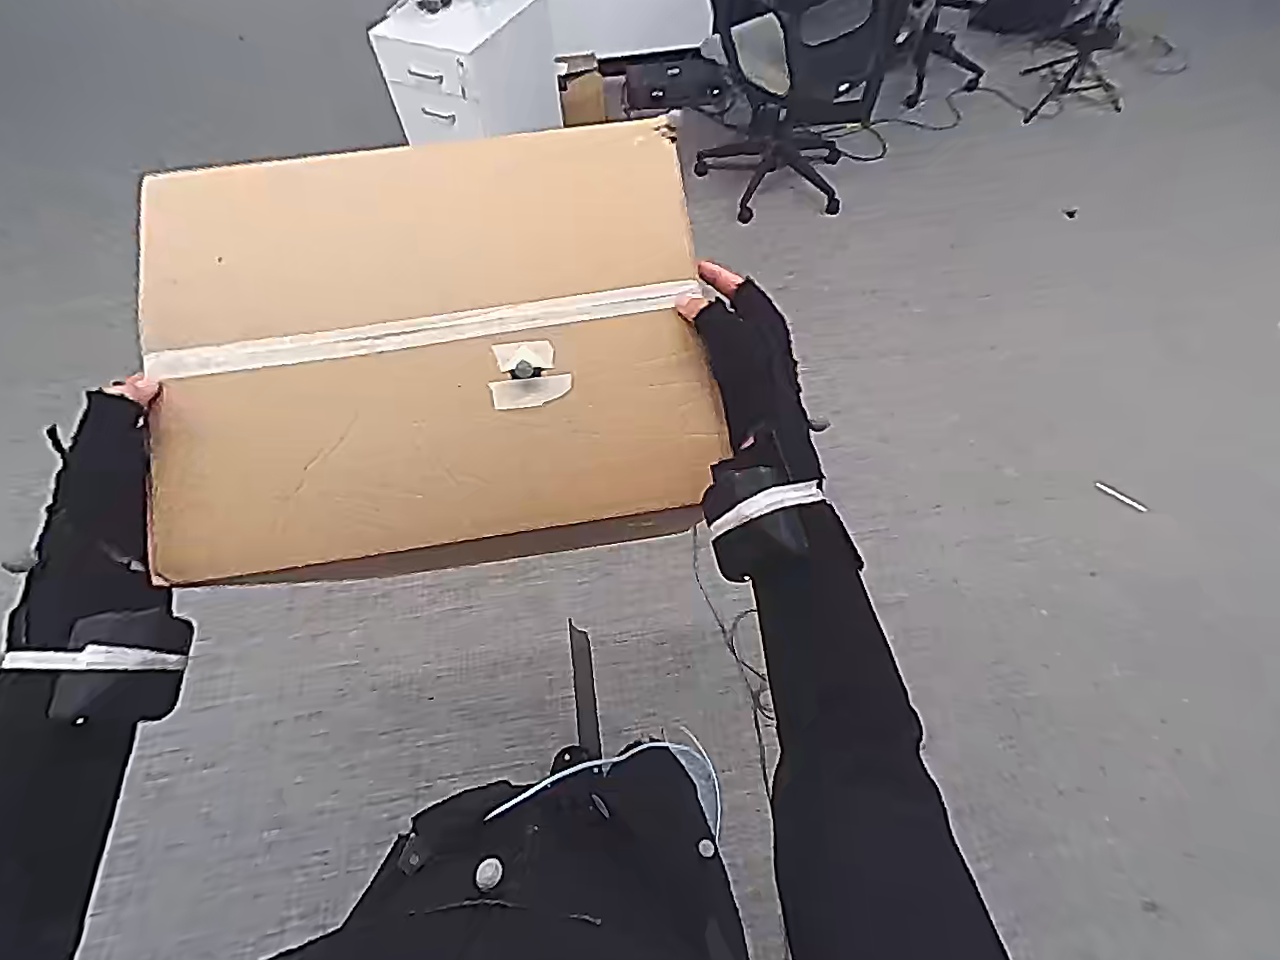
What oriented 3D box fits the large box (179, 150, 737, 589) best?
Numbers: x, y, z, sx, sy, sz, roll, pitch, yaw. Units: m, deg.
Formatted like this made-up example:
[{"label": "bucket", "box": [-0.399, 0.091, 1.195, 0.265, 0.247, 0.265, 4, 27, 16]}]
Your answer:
[{"label": "large box", "box": [-0.152, -0.076, 0.561, 0.408, 0.320, 0.320, -8, 82, -4]}]
